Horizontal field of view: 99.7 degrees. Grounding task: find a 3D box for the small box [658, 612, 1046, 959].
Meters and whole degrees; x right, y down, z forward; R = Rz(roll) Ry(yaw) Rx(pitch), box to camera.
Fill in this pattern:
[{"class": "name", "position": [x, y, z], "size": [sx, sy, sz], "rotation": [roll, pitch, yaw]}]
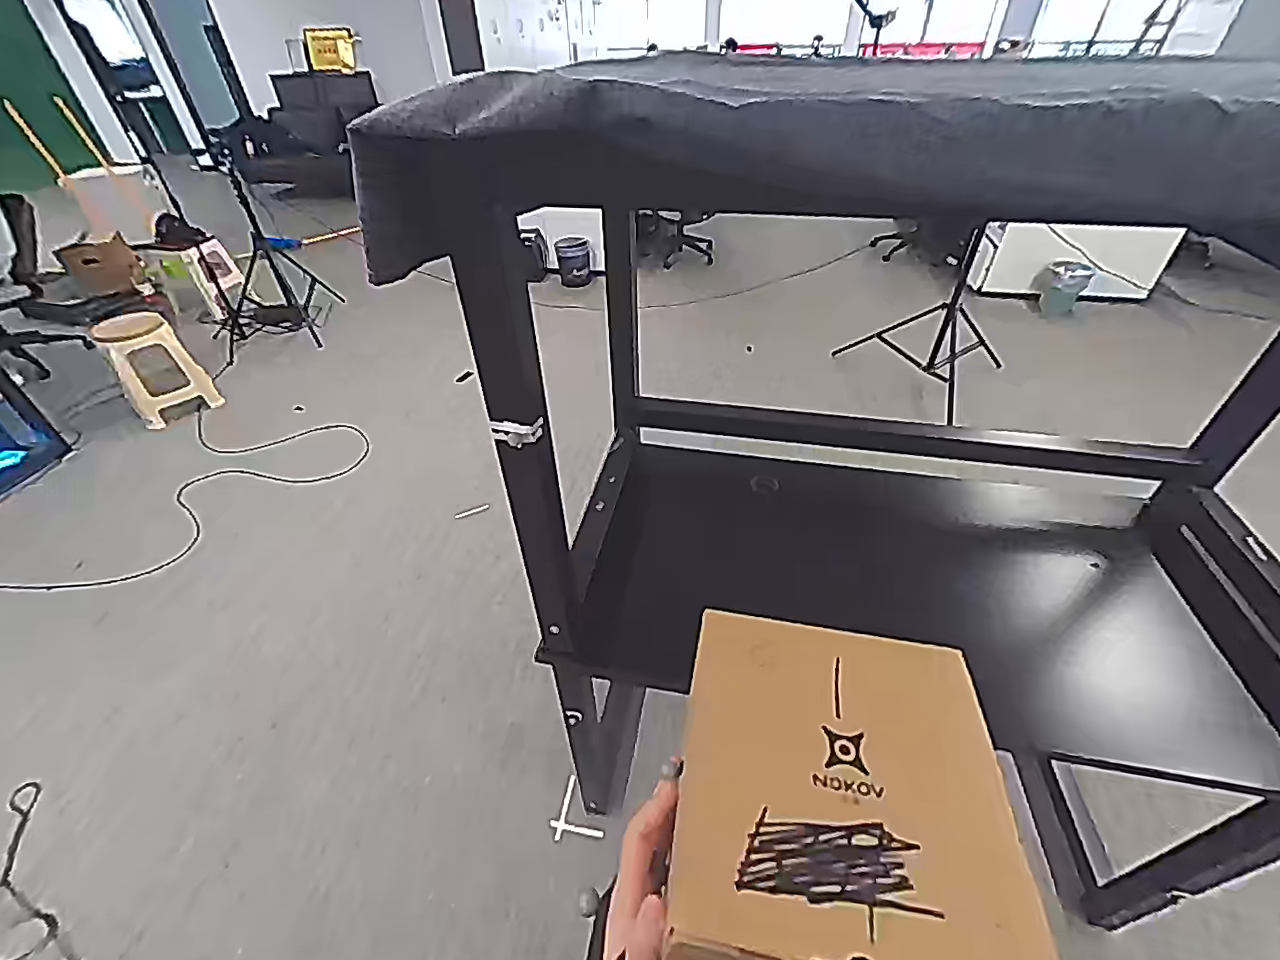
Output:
[{"class": "small box", "position": [0.105, 0.215, 0.340], "size": [0.168, 0.176, 0.179], "rotation": [8, 40, 7]}]
